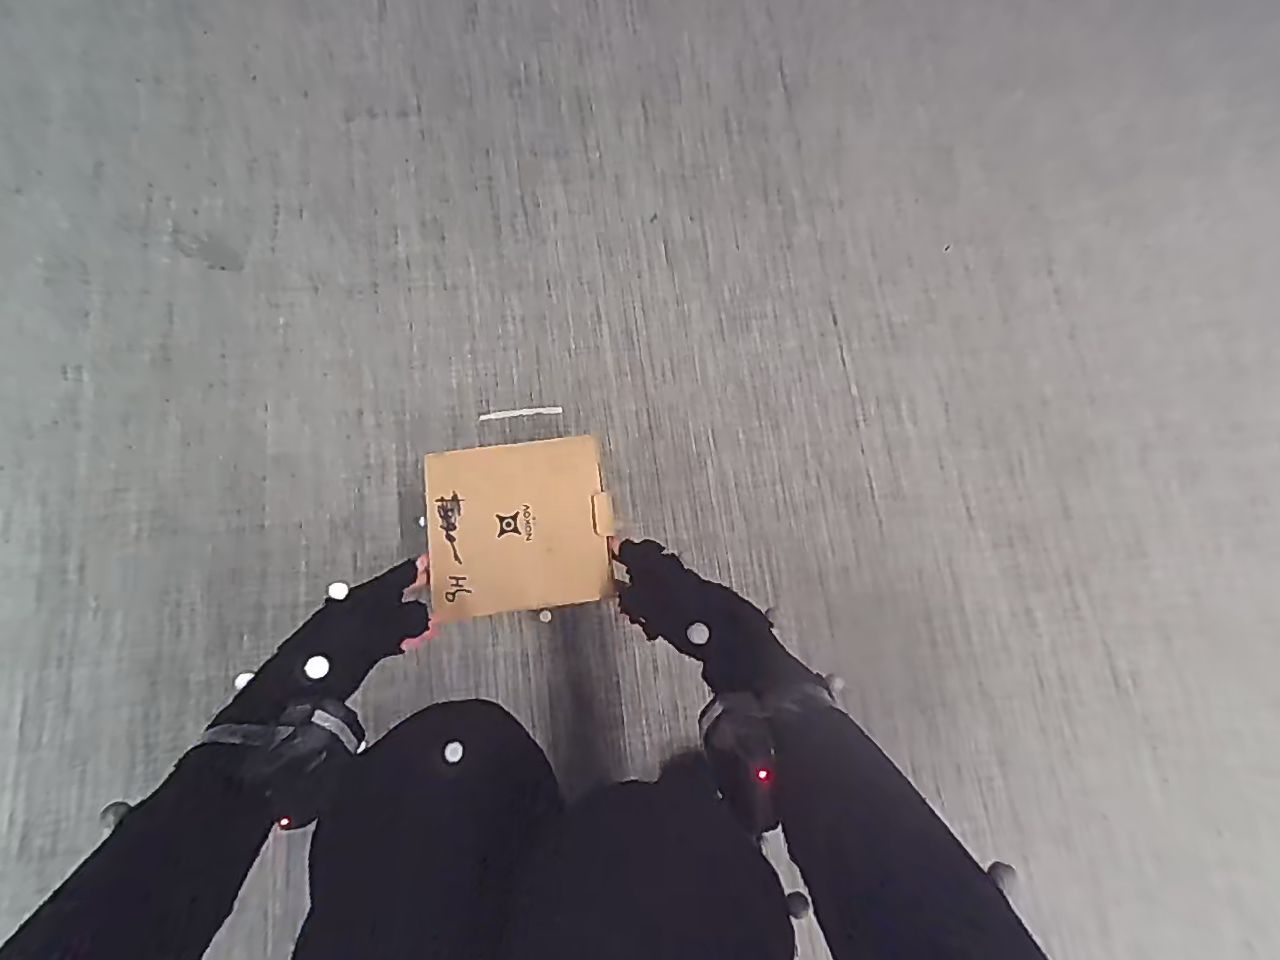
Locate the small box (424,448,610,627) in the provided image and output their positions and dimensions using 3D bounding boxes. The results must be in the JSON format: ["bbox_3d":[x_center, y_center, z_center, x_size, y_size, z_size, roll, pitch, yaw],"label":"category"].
[{"bbox_3d":[-0.126,0.069,0.608,0.179,0.176,0.168,-5,78,-3],"label":"small box"}]
